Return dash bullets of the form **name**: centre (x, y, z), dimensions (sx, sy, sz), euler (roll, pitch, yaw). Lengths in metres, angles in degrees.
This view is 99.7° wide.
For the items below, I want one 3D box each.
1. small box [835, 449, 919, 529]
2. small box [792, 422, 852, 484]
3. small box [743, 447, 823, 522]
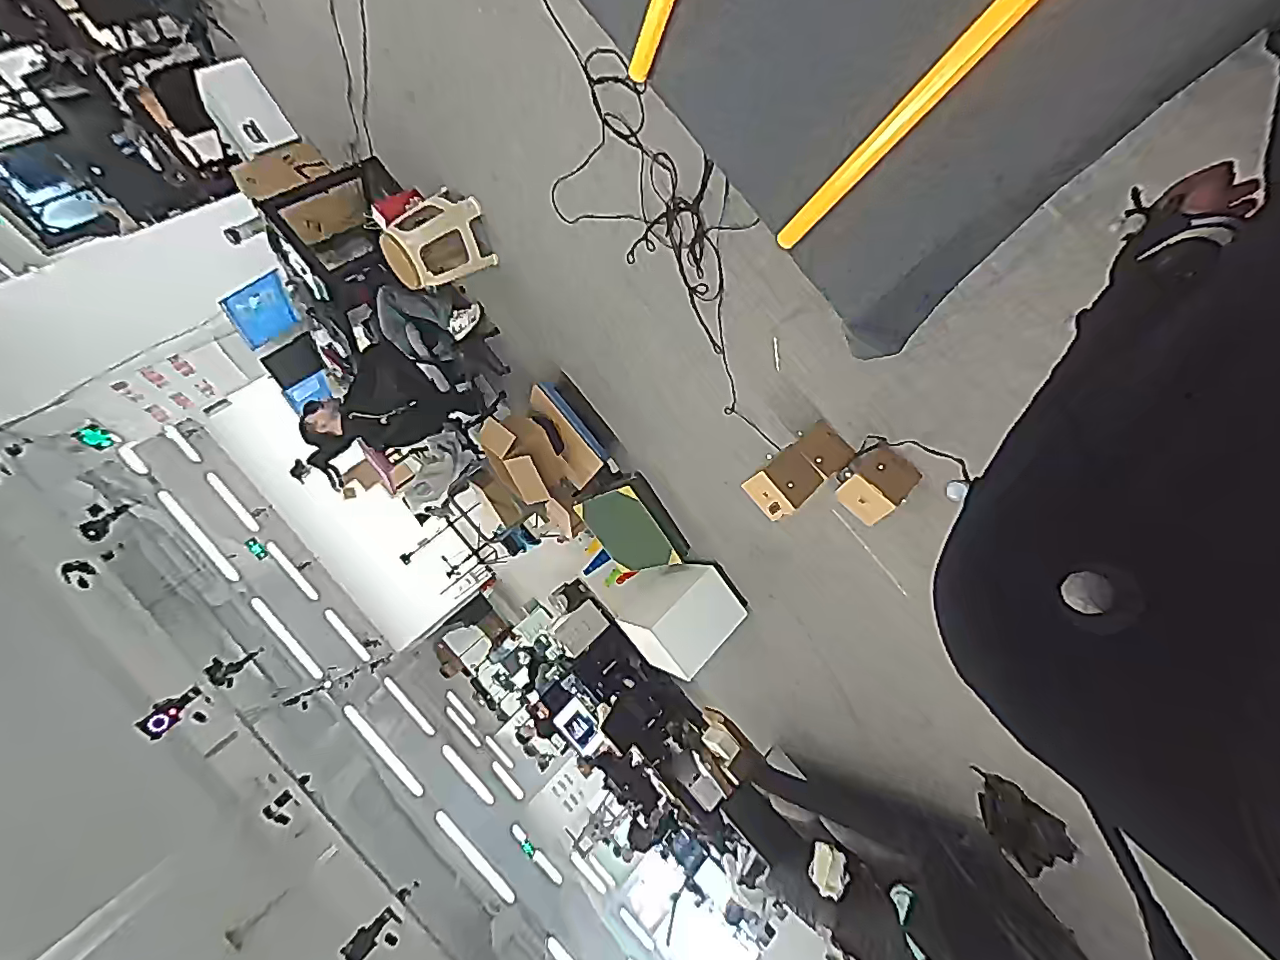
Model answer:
- **small box**: centre (0.797, 0.027, 1.811), dimensions (0.168, 0.176, 0.179), euler (45, 156, 13)
- **small box**: centre (0.627, -0.074, 1.951), dimensions (0.168, 0.176, 0.179), euler (47, 156, 8)
- **small box**: centre (0.503, 0.016, 1.890), dimensions (0.179, 0.176, 0.168), euler (50, 156, 3)
